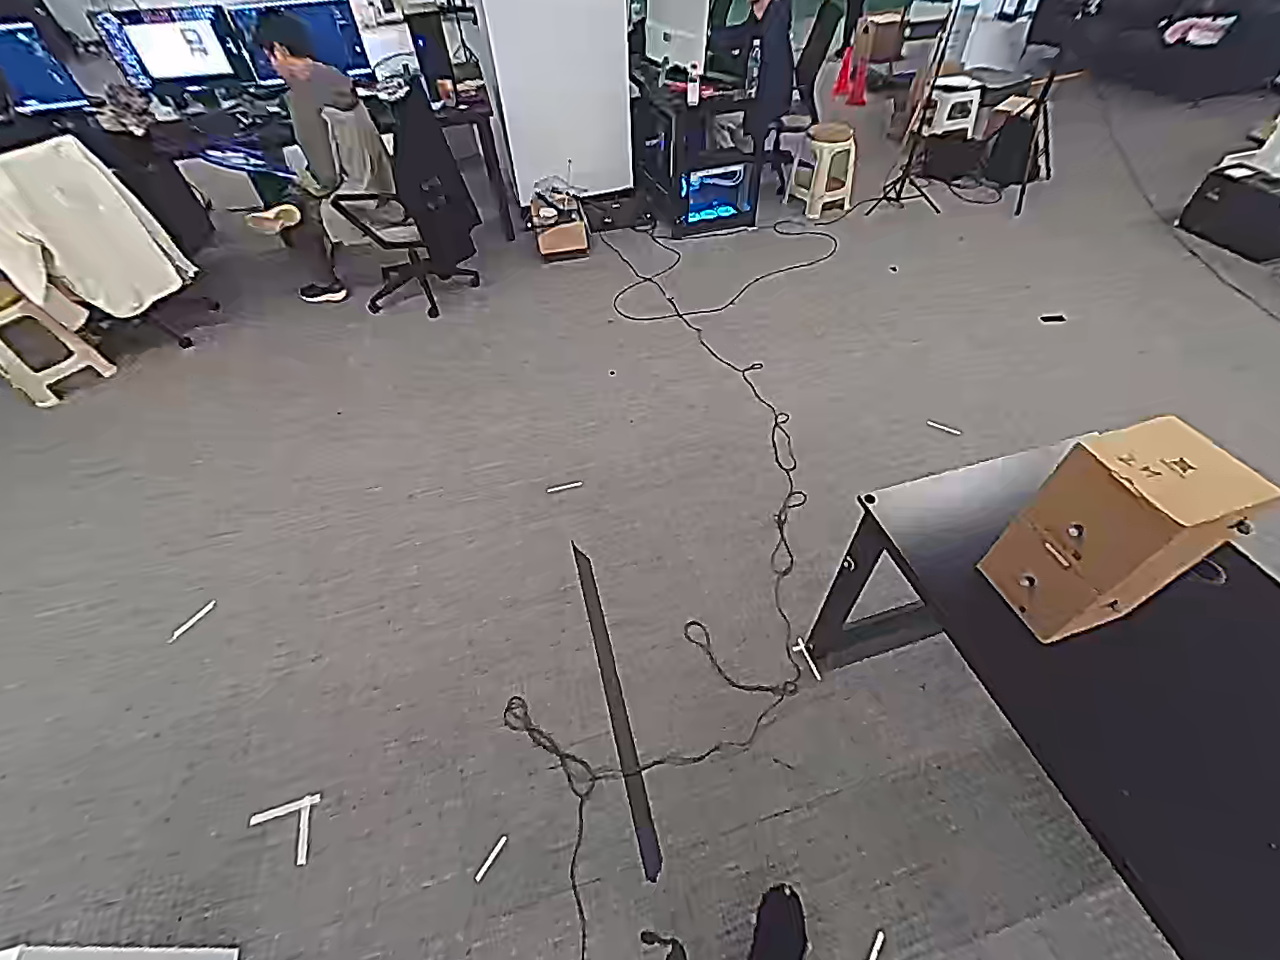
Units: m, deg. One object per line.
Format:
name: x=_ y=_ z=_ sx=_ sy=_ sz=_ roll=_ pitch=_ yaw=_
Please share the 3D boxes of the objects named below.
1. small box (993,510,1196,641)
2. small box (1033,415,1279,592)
small box: x=0.737 y=0.145 z=0.908 sx=0.179 sy=0.176 sz=0.168 roll=-15 pitch=50 yaw=-10
small box: x=0.732 y=0.035 z=0.784 sx=0.179 sy=0.176 sz=0.168 roll=-15 pitch=49 yaw=-9
